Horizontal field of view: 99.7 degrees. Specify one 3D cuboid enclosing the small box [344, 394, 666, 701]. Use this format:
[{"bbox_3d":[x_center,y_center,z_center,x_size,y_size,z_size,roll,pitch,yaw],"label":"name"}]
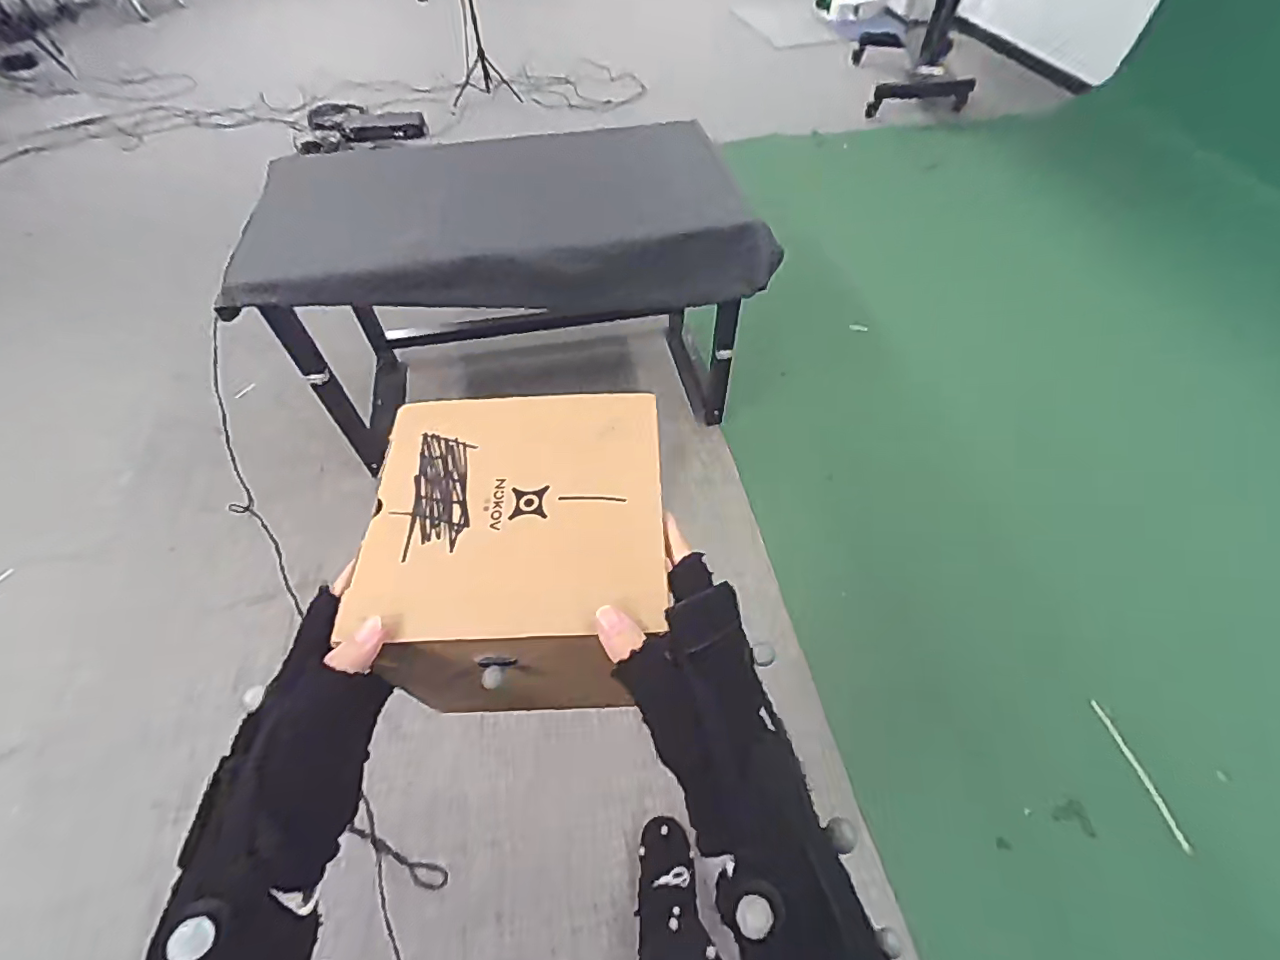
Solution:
[{"bbox_3d":[-0.072,0.057,0.397,0.179,0.176,0.168,-2,55,0],"label":"small box"}]
